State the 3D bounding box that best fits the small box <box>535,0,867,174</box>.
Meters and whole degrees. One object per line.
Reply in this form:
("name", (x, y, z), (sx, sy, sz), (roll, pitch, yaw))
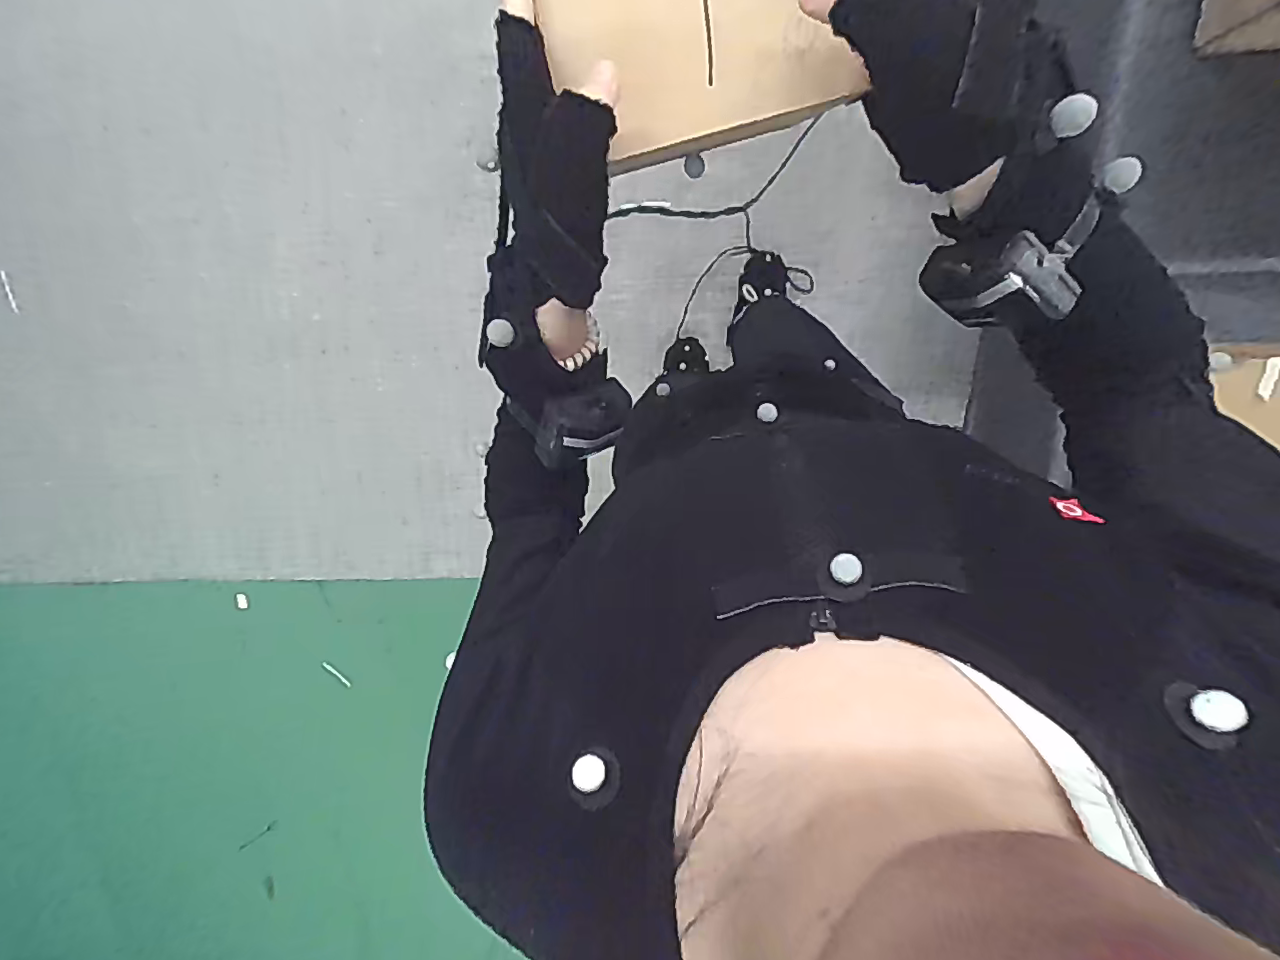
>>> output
("small box", (0.021, -0.304, 0.328), (0.168, 0.176, 0.179), (-12, 117, 5))
